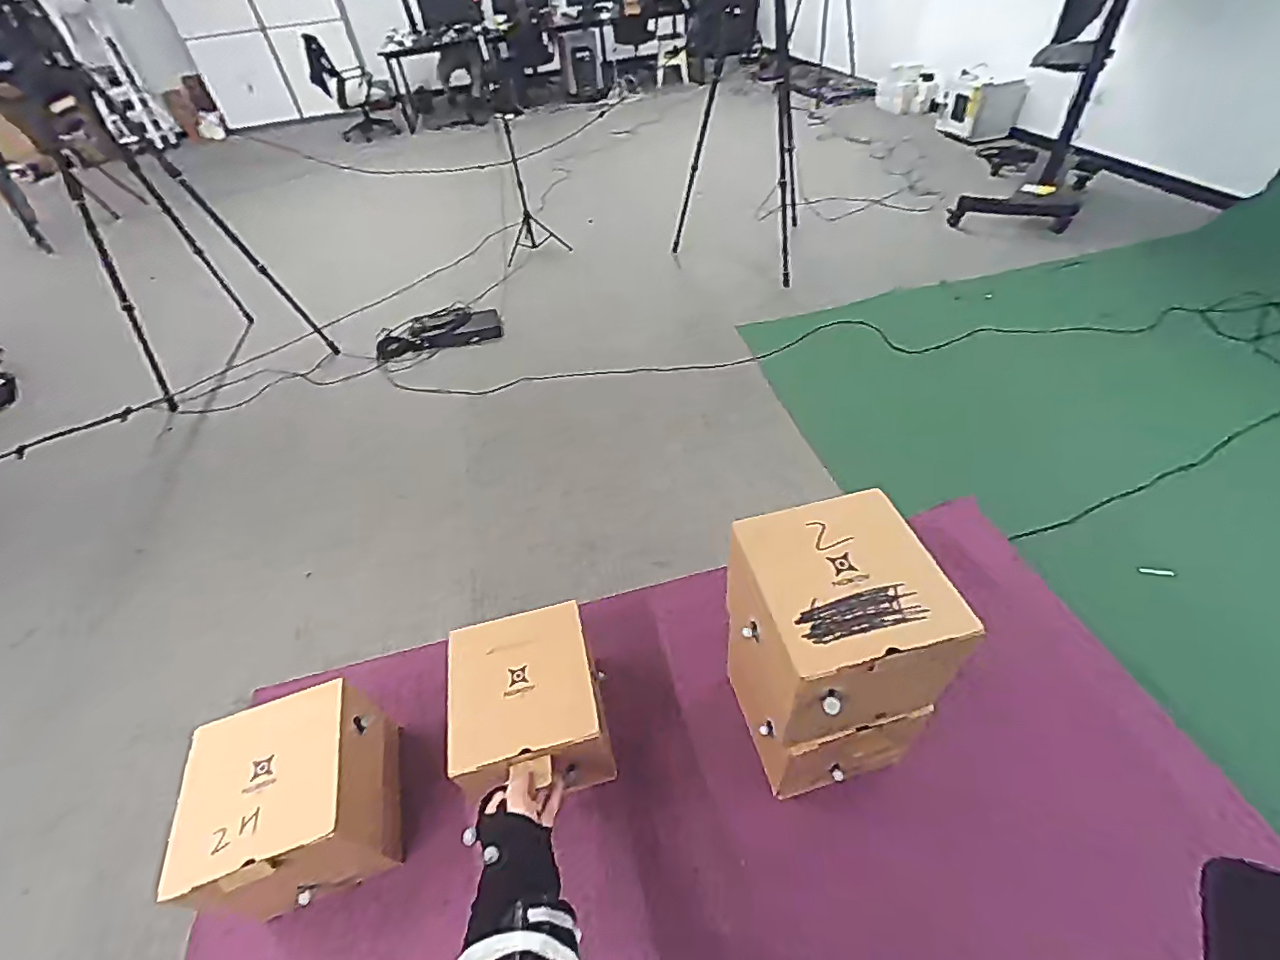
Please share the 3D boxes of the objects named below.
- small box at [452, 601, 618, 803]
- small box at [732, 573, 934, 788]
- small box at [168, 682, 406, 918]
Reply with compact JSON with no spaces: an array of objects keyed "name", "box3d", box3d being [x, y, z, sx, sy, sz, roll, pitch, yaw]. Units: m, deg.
[{"name":"small box","box3d":[-0.130,0.288,0.691,0.168,0.176,0.179,-13,46,-6]},{"name":"small box","box3d":[0.220,0.251,0.677,0.168,0.176,0.179,-15,47,-6]},{"name":"small box","box3d":[-0.393,0.378,0.641,0.168,0.176,0.179,-18,47,-9]}]
